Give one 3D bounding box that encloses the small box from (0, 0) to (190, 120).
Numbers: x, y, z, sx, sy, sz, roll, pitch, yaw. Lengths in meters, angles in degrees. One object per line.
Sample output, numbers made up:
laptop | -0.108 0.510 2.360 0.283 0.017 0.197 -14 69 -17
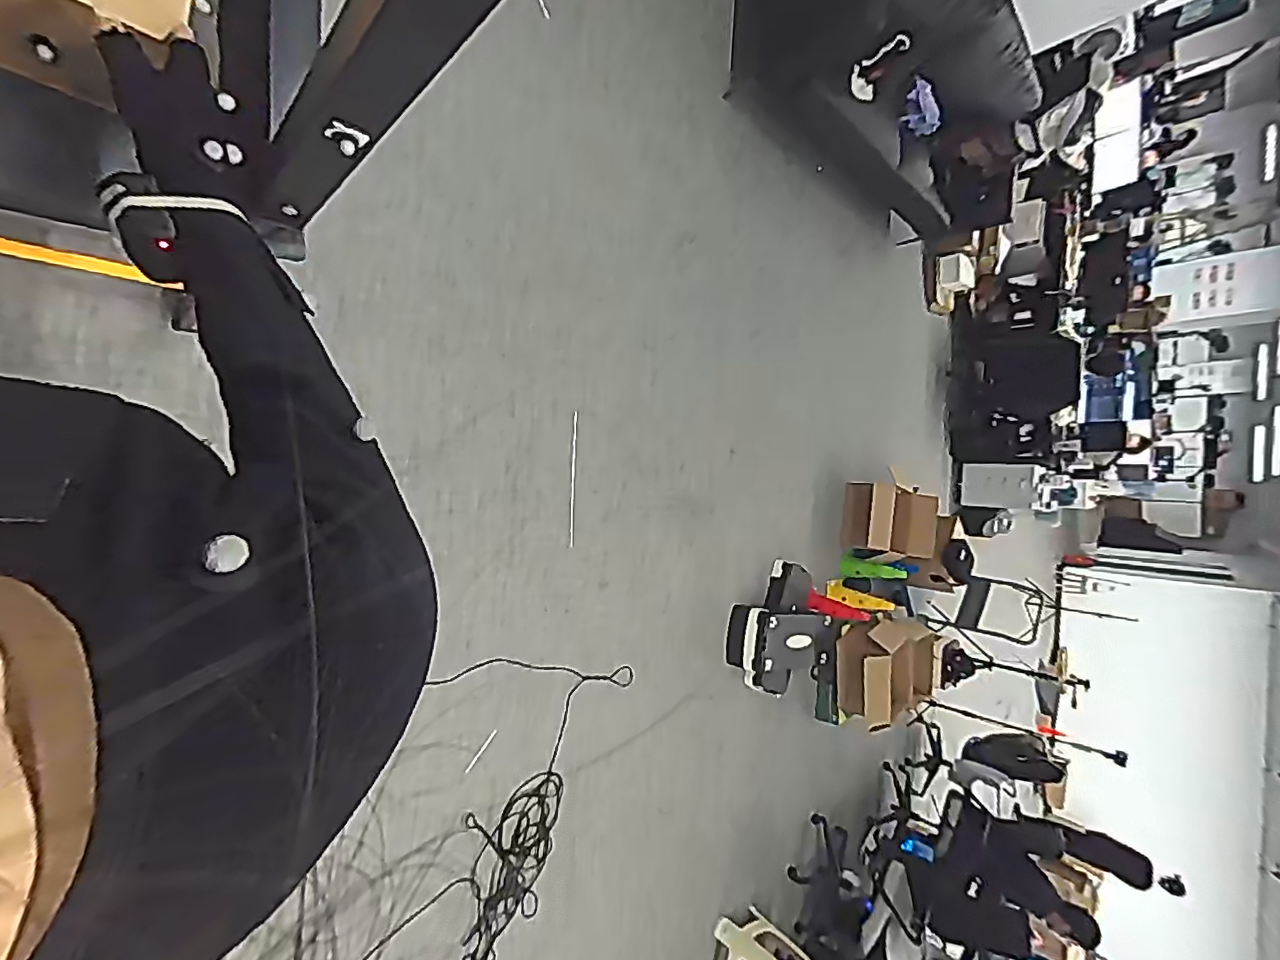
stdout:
small box | -0.508 -0.471 0.479 0.168 0.176 0.179 6 87 -46
